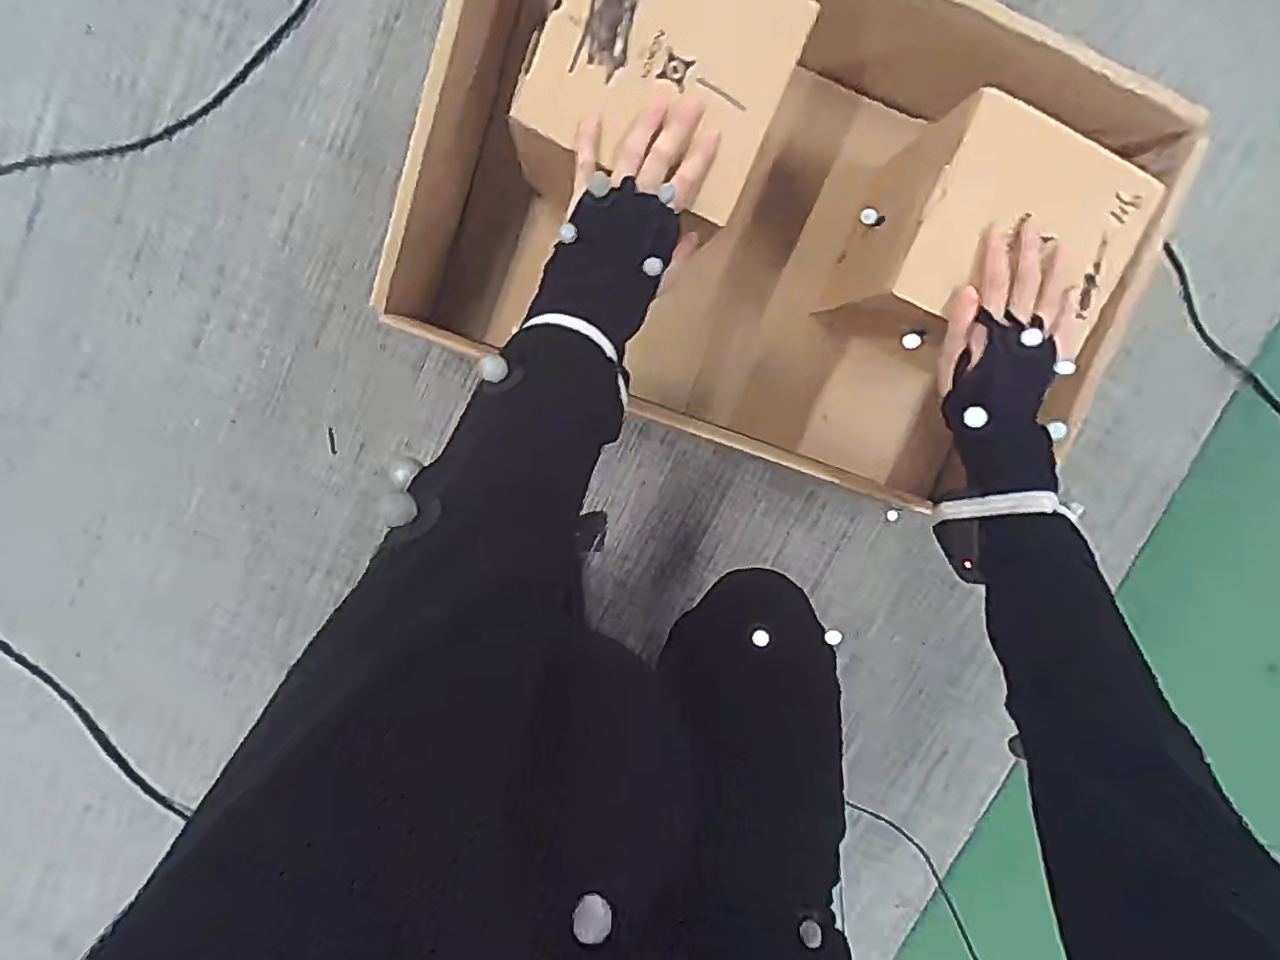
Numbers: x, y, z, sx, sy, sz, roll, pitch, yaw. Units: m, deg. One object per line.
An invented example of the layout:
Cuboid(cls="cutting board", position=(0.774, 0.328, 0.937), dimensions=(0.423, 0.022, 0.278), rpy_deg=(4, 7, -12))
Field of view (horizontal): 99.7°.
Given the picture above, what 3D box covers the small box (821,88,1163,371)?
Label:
Cuboid(cls="small box", position=(0.303, -0.208, 0.510), dimensions=(0.179, 0.176, 0.168), rpy_deg=(23, 98, -7))
